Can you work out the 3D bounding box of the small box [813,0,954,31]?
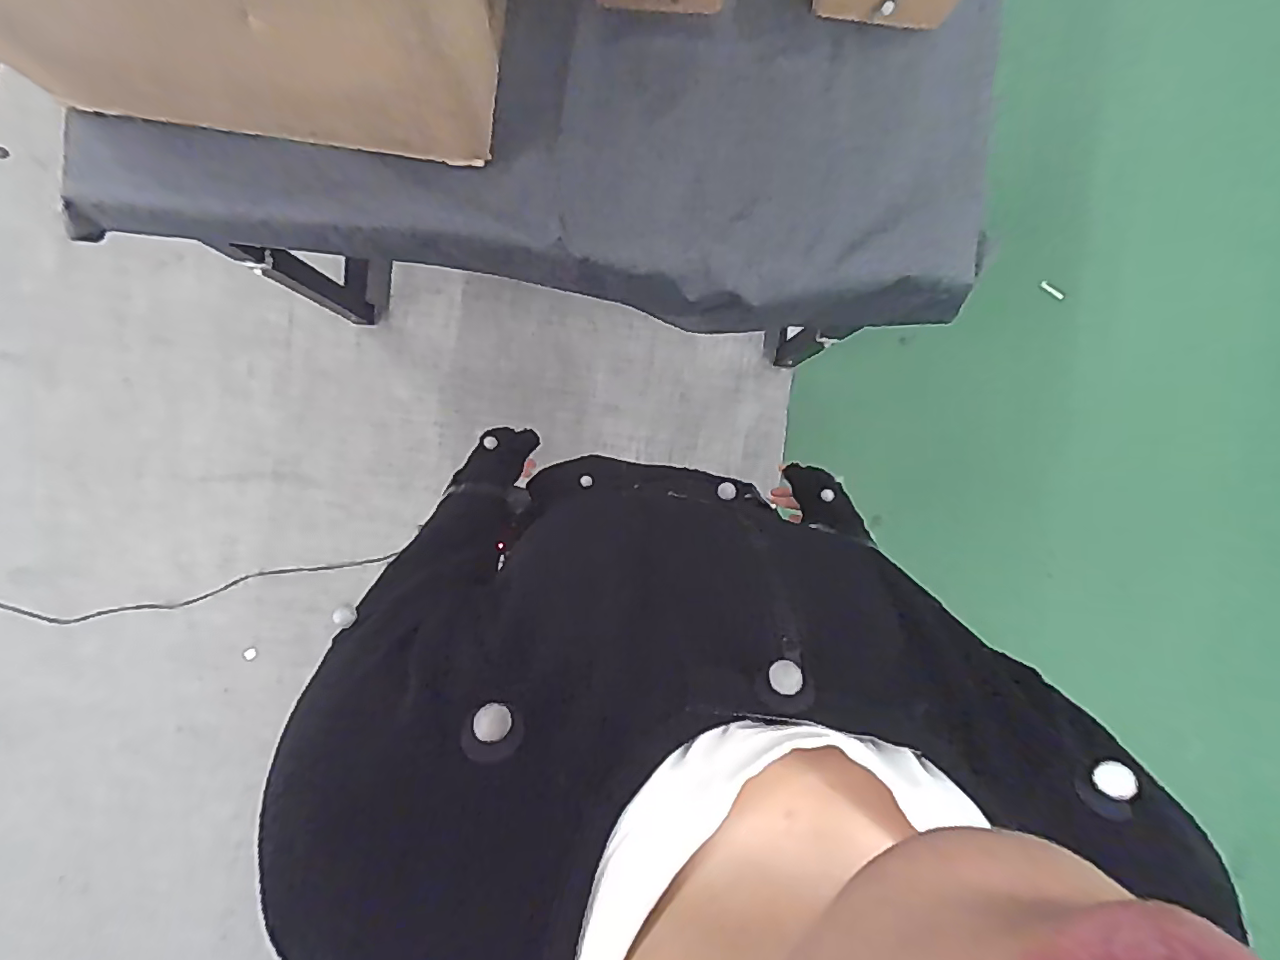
[{"bbox_3d":[0.334,-0.699,0.658,0.179,0.176,0.168,6,91,-3],"label":"small box"}]
